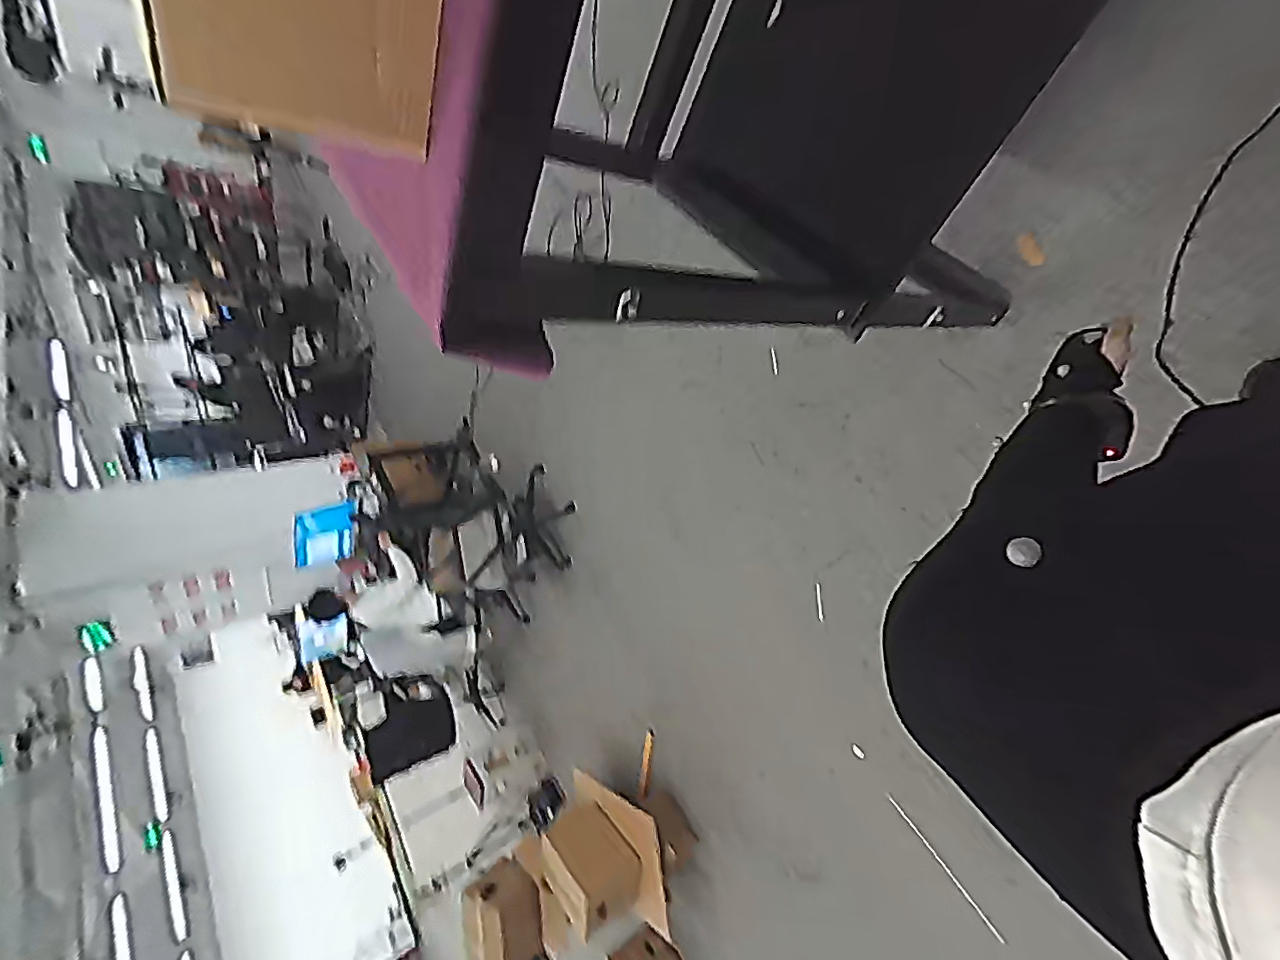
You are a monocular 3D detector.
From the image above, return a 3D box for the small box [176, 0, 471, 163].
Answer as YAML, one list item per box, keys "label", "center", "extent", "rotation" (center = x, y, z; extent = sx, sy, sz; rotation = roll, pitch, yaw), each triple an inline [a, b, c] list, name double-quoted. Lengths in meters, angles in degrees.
- label: "small box"
  center: [-0.237, -0.366, 0.401]
  extent: [0.168, 0.176, 0.179]
  rotation: [51, 134, 31]
